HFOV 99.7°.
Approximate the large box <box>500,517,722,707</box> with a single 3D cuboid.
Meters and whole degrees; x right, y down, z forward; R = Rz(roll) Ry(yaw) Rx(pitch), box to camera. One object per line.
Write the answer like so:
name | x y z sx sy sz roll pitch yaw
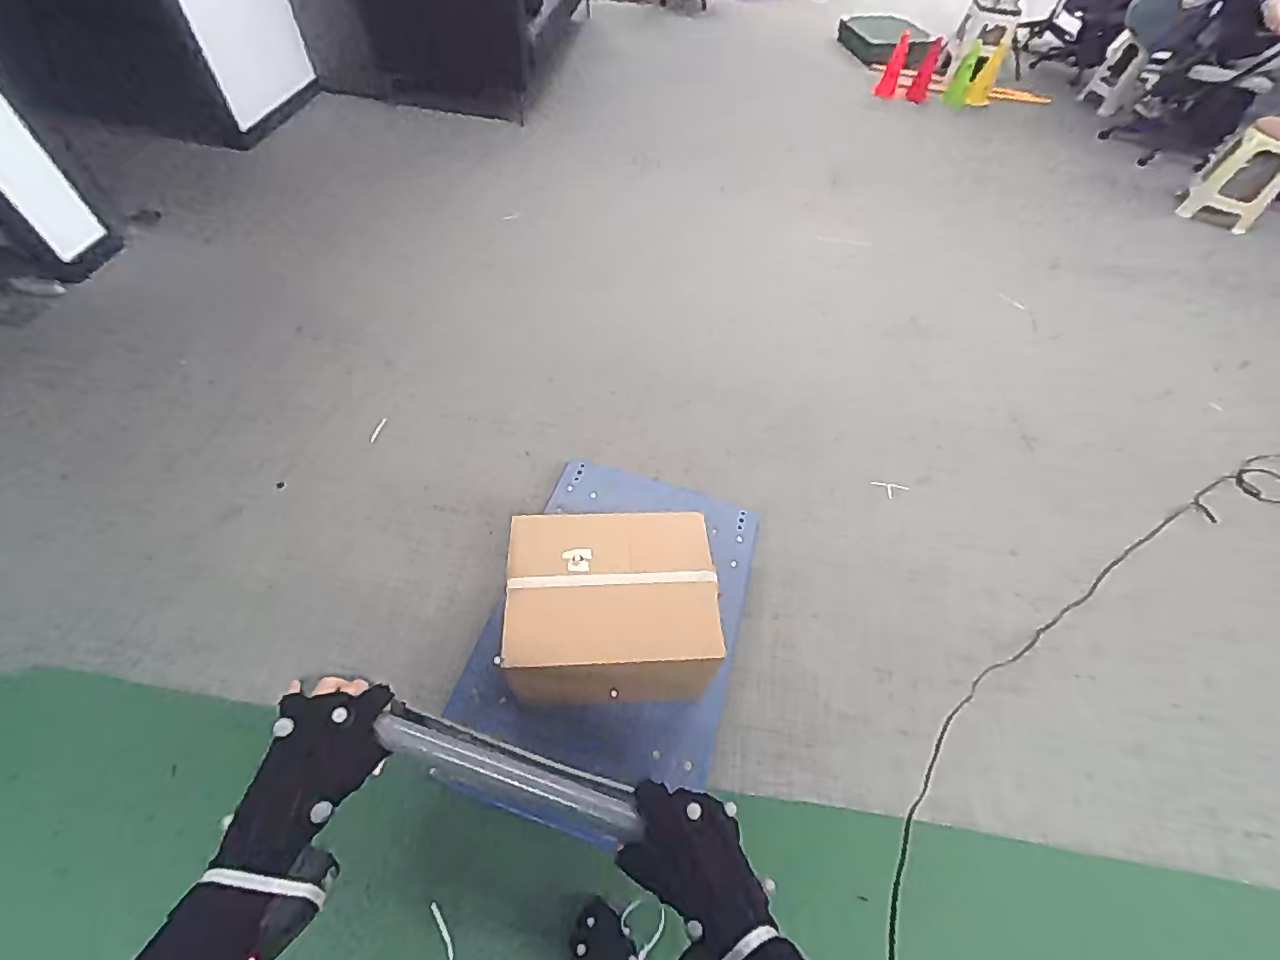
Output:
large box | -0.064 0.292 1.167 0.408 0.320 0.320 0 54 -4
